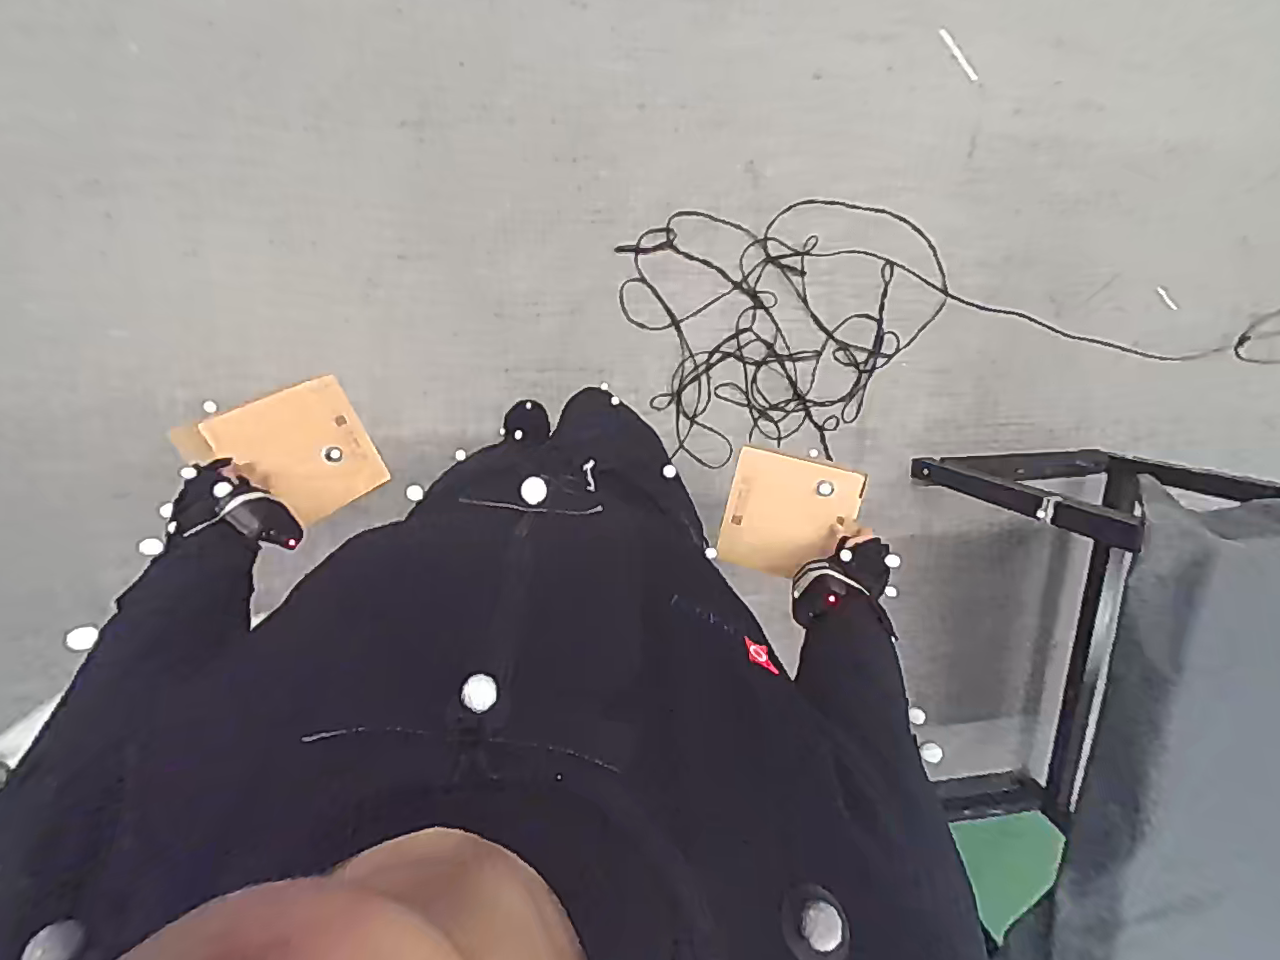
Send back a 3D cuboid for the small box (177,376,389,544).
[{"bbox_3d":[-0.488,-0.032,0.753,0.176,0.179,0.168,-42,120,-40],"label":"small box"}]
